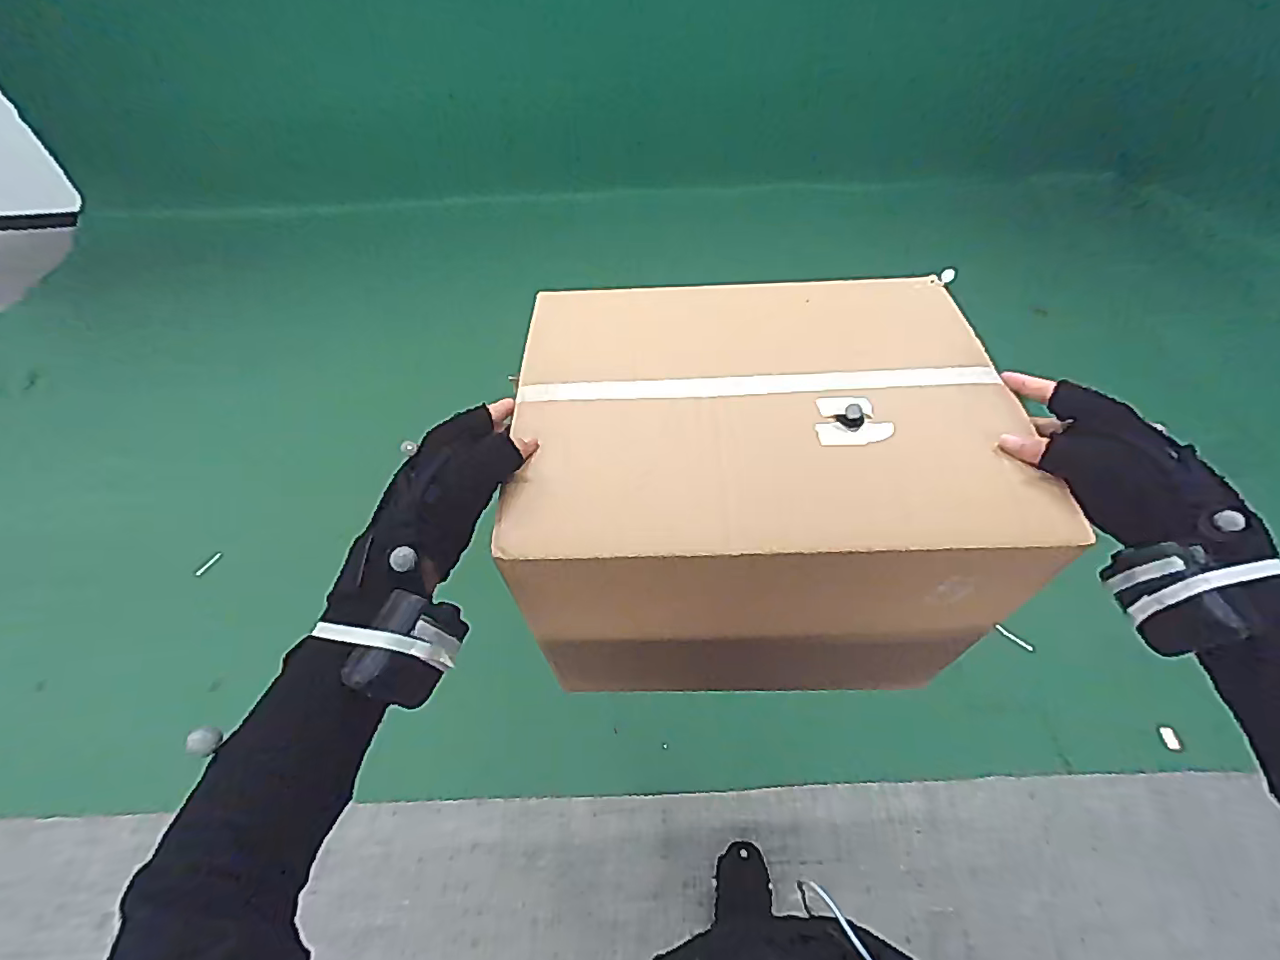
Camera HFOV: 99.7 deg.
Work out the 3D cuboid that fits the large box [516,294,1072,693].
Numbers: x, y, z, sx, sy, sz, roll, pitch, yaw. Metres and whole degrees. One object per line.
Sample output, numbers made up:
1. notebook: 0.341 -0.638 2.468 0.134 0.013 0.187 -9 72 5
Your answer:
1. large box: 0.107 0.024 0.588 0.408 0.320 0.320 -1 52 1
